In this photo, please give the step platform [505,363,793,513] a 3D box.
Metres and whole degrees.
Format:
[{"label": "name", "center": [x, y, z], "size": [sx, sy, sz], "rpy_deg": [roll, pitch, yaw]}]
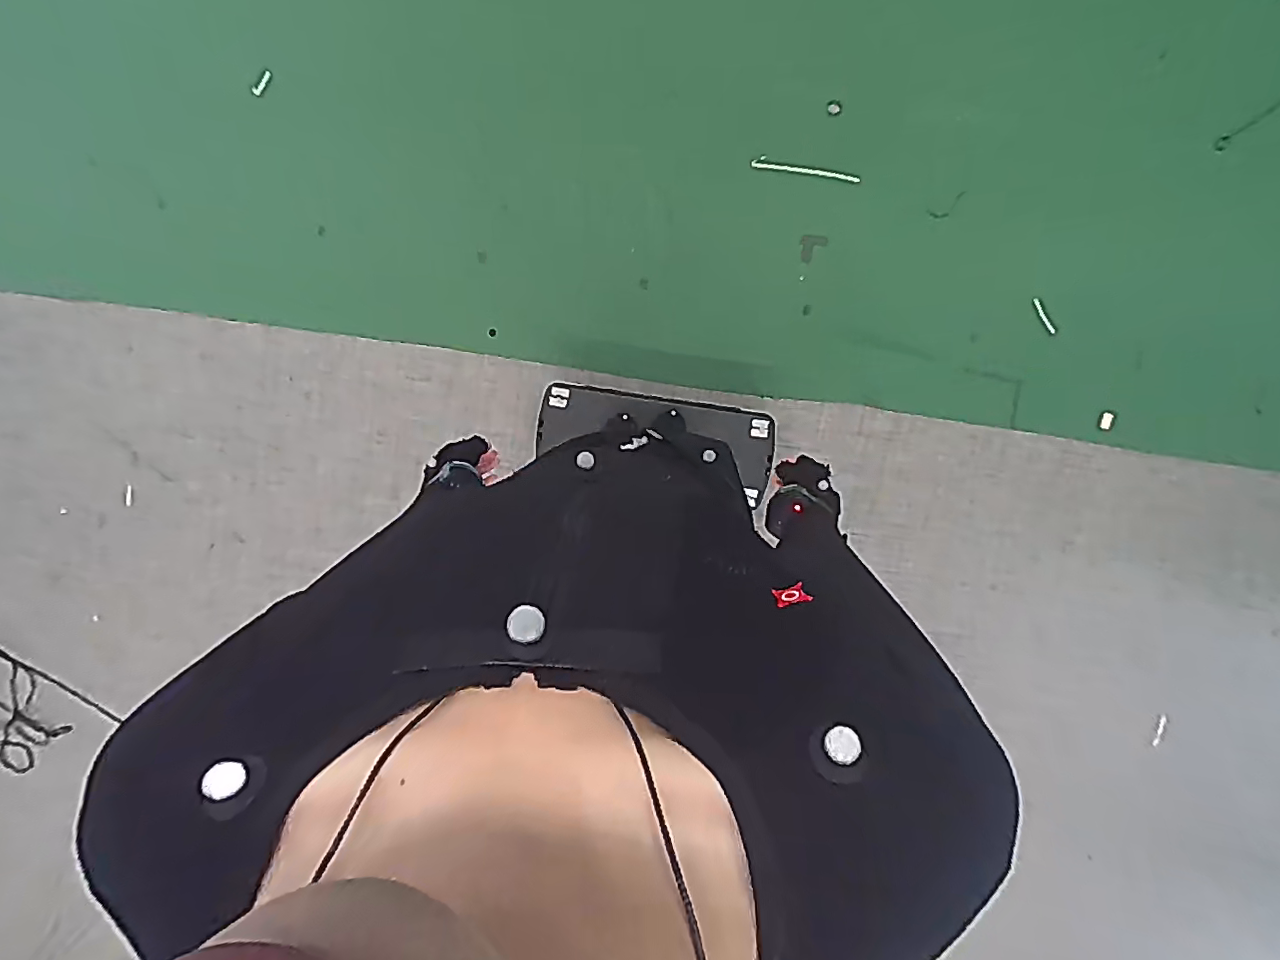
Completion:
[{"label": "step platform", "center": [0.020, -0.110, 1.374], "size": [0.684, 0.204, 0.286], "rpy_deg": [8, 99, 1]}]
